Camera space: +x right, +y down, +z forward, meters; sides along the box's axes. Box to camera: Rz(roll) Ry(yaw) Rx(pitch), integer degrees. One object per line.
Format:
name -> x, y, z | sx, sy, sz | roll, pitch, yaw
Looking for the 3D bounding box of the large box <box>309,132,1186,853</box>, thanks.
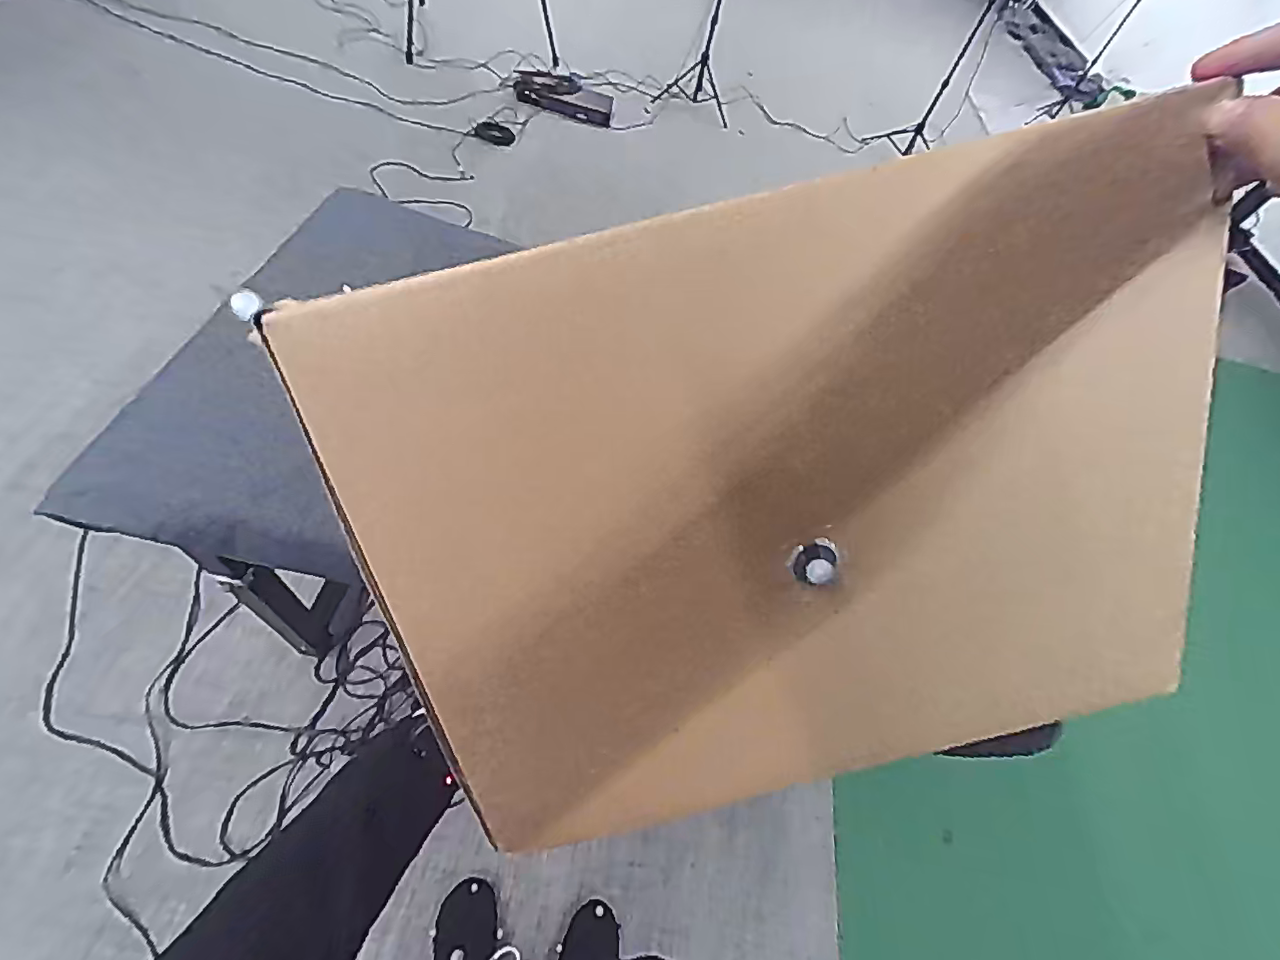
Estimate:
large box -> 0.073, -0.008, 0.418 | 0.408, 0.320, 0.320 | -16, 19, -1
